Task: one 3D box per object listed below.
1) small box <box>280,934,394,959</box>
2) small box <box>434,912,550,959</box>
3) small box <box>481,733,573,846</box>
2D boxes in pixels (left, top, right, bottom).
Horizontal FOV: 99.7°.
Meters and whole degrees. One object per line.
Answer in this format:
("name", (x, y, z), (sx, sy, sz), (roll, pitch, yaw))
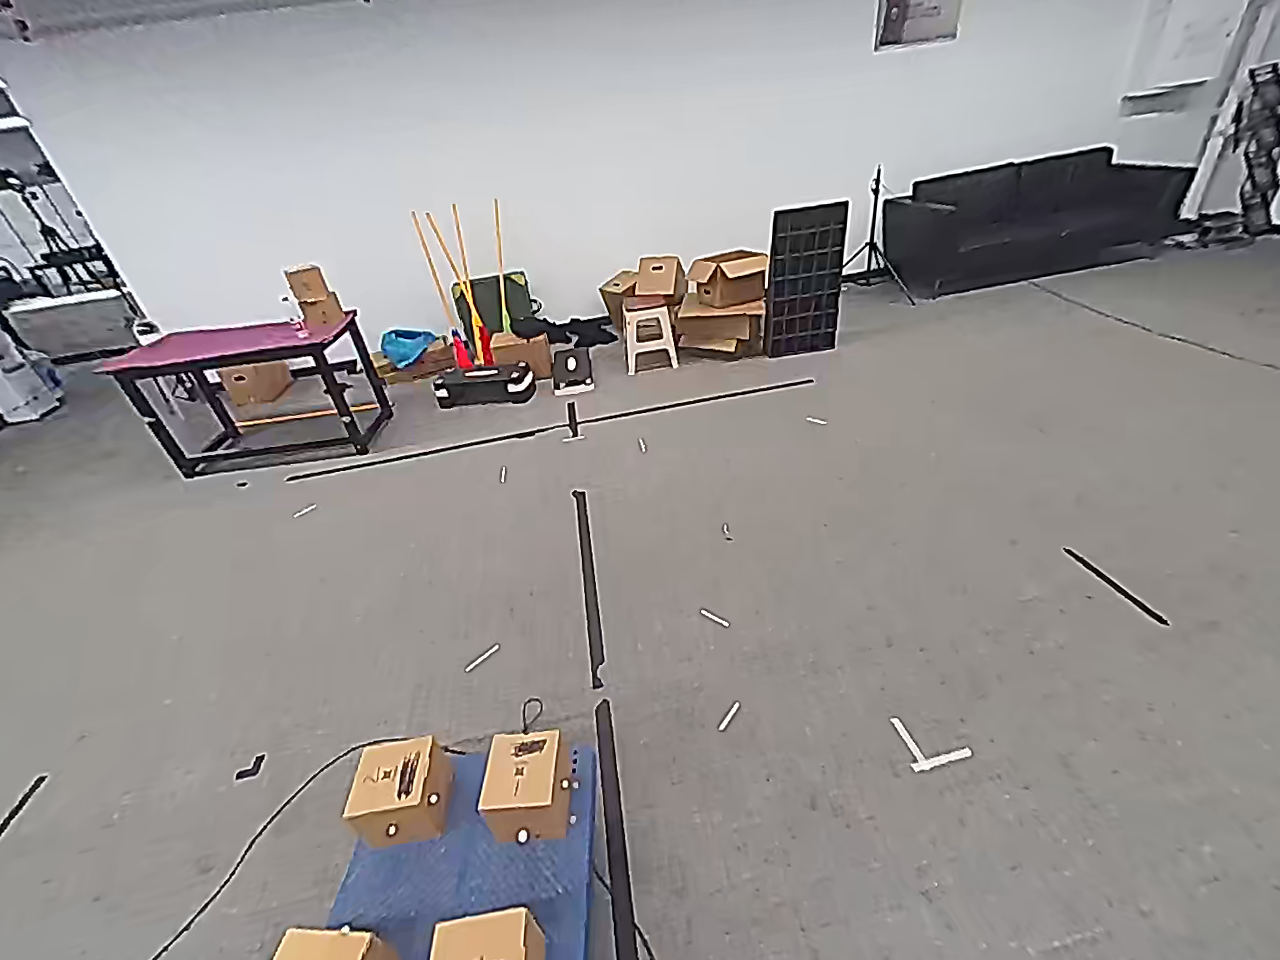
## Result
("small box", (-0.578, 0.977, 1.000), (0.179, 0.176, 0.168), (-2, 33, 6))
("small box", (-0.273, 0.936, 0.991), (0.179, 0.176, 0.168), (-9, 34, -2))
("small box", (-0.259, 0.736, 1.288), (0.168, 0.176, 0.179), (-6, 35, 3))
